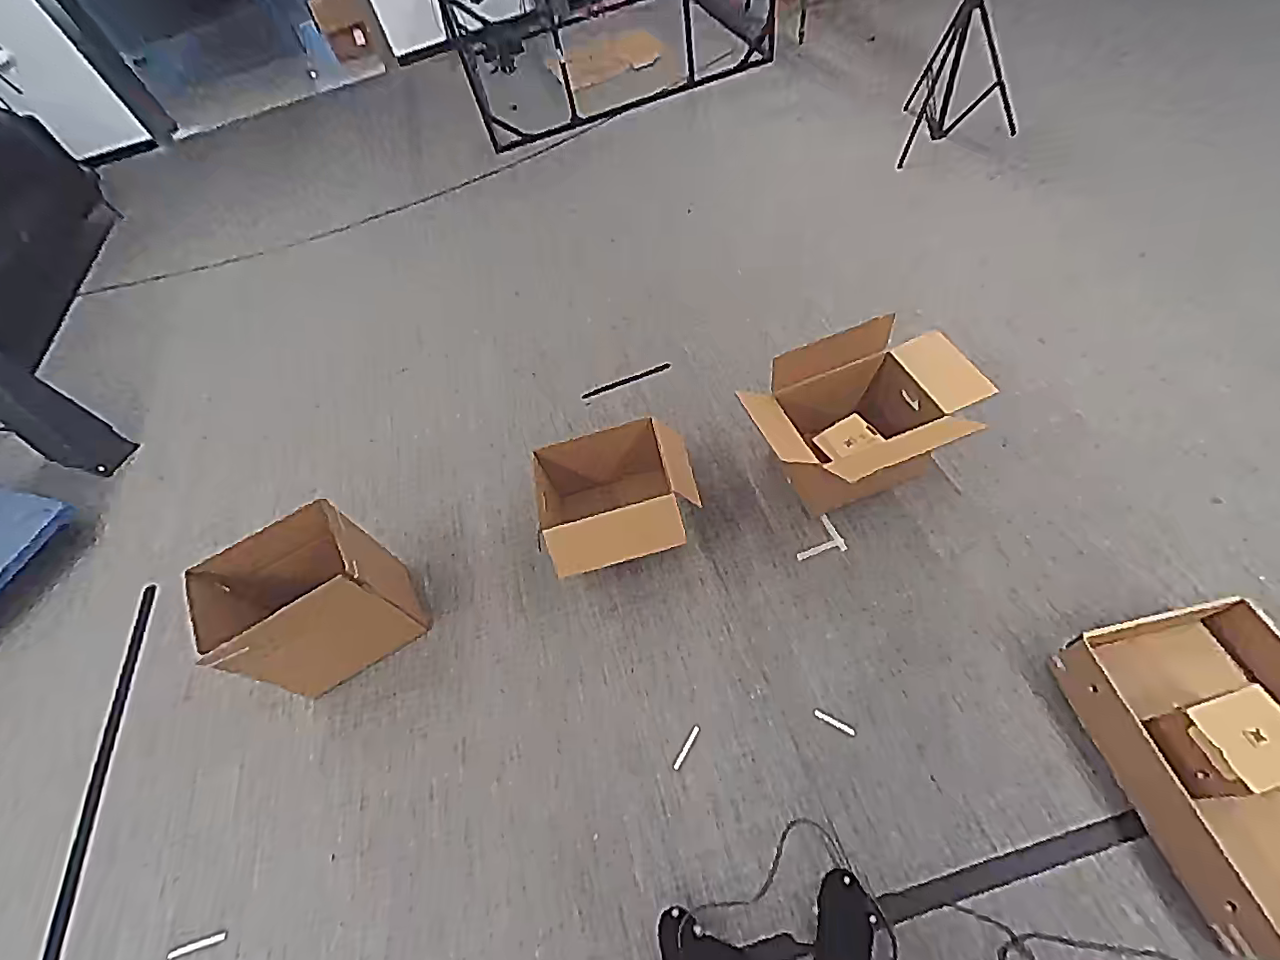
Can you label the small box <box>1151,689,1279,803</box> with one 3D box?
[{"bbox_3d":[1.256,0.571,1.152,0.179,0.176,0.168,-19,56,-1],"label":"small box"}]
